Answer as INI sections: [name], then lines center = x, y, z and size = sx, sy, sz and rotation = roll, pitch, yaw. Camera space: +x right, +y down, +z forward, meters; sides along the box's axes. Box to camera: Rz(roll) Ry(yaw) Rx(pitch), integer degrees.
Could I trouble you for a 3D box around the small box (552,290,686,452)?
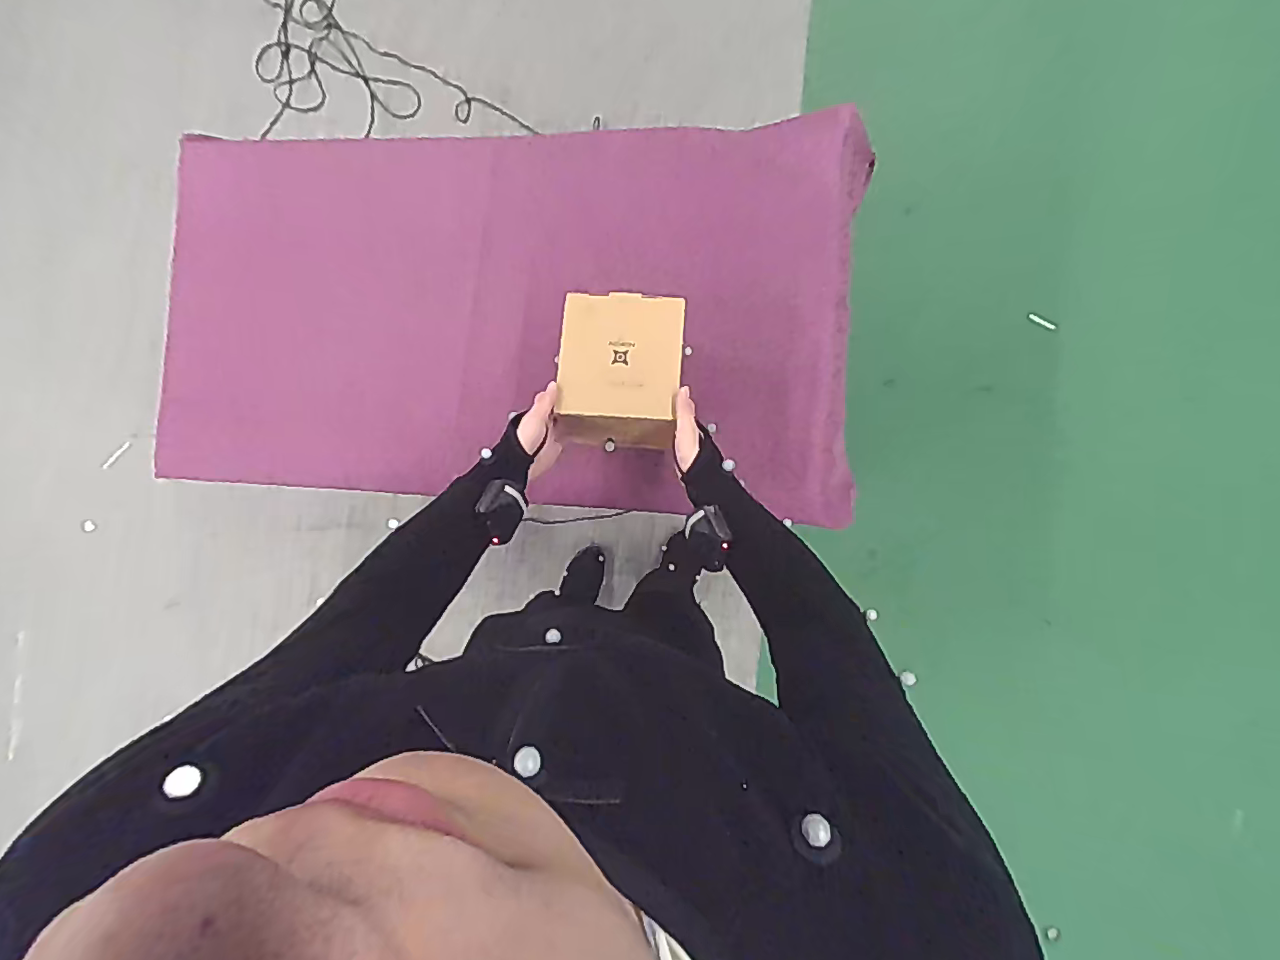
[small box]
center = -0.026, -0.150, 0.790
size = 0.168, 0.176, 0.179
rotation = 4, 79, 2
